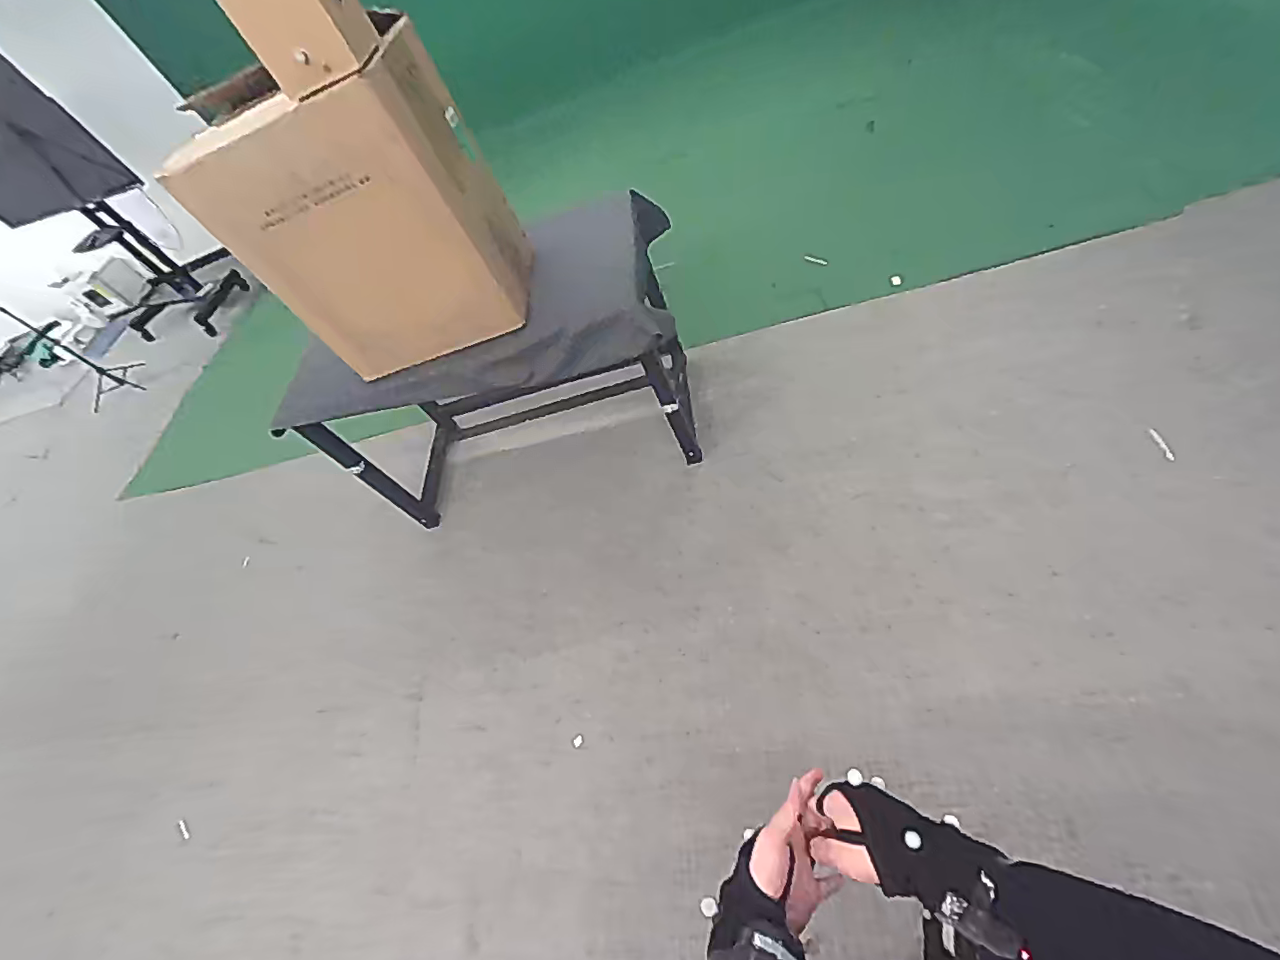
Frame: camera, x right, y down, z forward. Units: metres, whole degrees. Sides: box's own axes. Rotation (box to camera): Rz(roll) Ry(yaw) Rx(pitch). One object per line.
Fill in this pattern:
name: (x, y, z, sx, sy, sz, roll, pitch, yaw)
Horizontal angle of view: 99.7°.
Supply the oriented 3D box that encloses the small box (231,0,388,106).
small box: (-0.611, -0.855, 1.027, 0.168, 0.176, 0.179, -14, 53, 13)
